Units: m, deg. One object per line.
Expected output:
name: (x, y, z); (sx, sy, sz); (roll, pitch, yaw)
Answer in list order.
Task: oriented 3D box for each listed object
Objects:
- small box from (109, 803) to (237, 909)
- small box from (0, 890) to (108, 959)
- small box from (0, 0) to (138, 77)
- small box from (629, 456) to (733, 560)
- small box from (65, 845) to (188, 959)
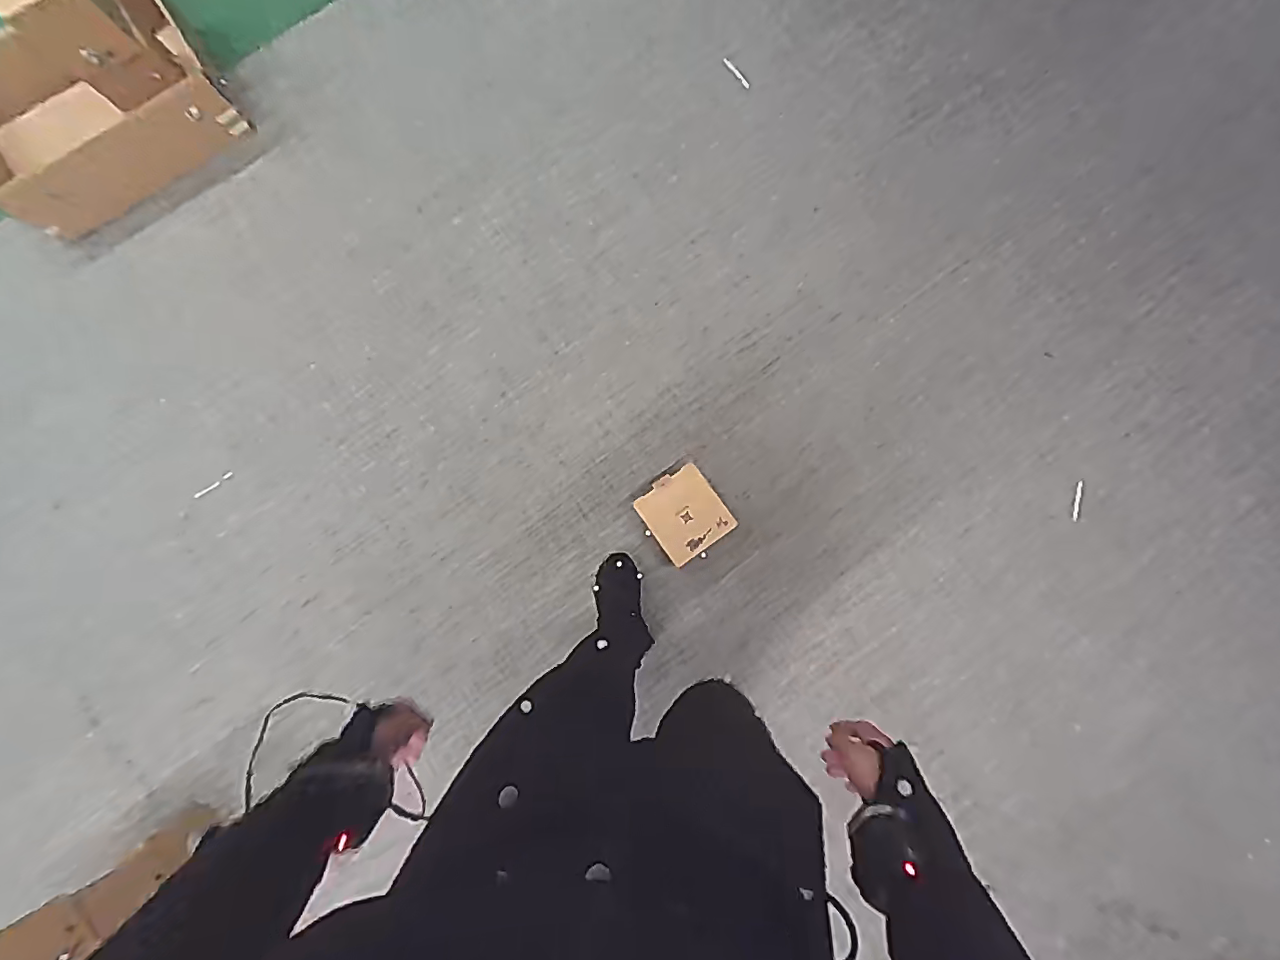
small box: (-1.042, 0.863, 1.190); (0.179, 0.176, 0.168); (-44, 83, -3)
small box: (-1.037, 0.827, 0.866); (0.179, 0.176, 0.168); (-41, 84, -4)
small box: (-1.312, -1.075, 1.220); (0.168, 0.176, 0.179); (-32, 85, -2)
small box: (0.090, 0.072, 1.259); (0.168, 0.176, 0.179); (-35, 83, -3)
small box: (-1.032, 0.854, 1.026); (0.179, 0.176, 0.168); (-40, 84, -4)
